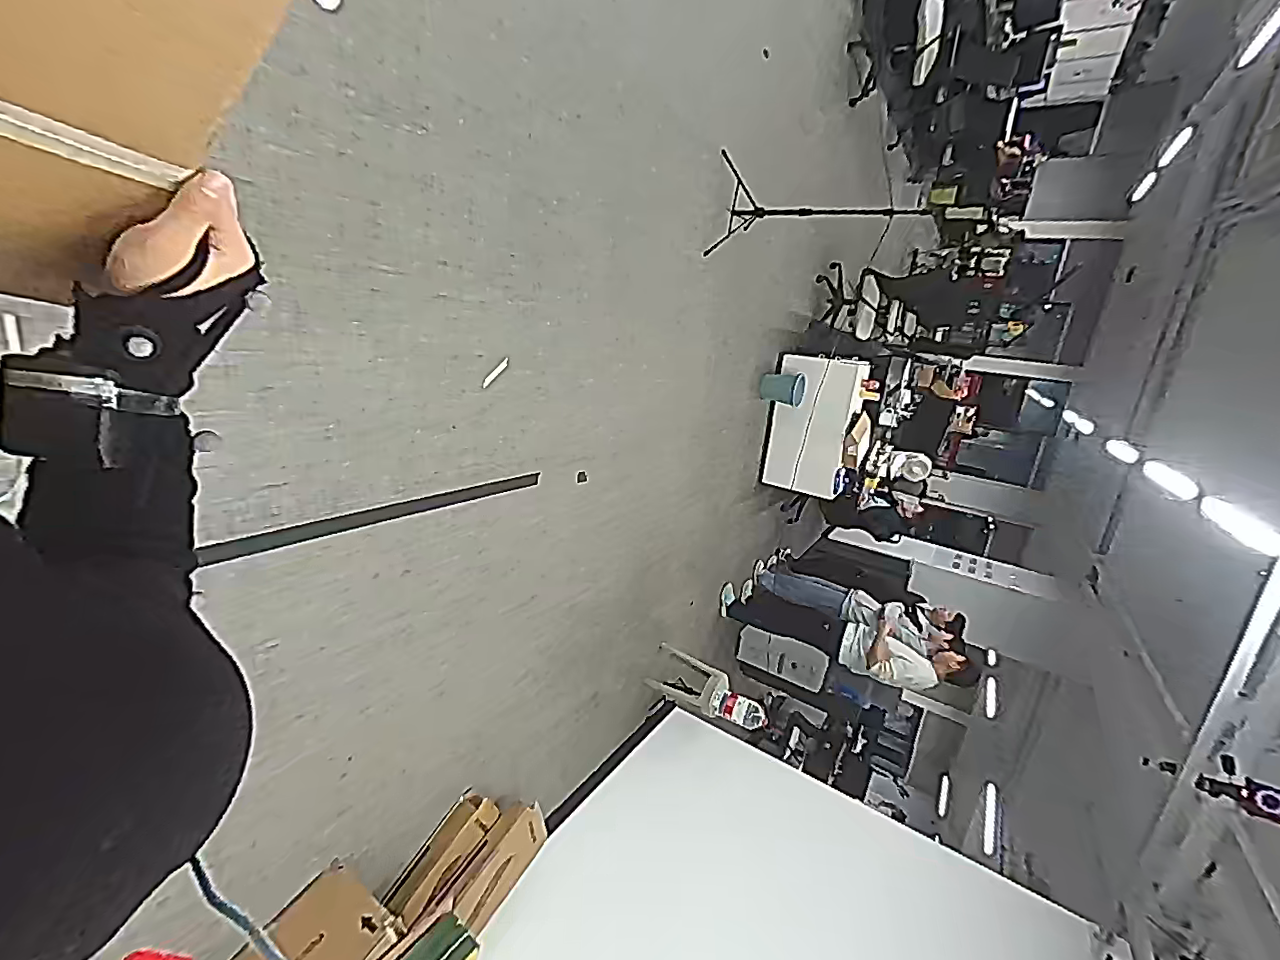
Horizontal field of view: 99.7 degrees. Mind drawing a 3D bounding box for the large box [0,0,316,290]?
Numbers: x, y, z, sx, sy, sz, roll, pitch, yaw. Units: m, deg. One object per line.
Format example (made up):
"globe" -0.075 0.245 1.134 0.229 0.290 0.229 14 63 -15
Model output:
"large box" -0.387 -0.324 0.168 0.408 0.320 0.320 -1 72 -57
